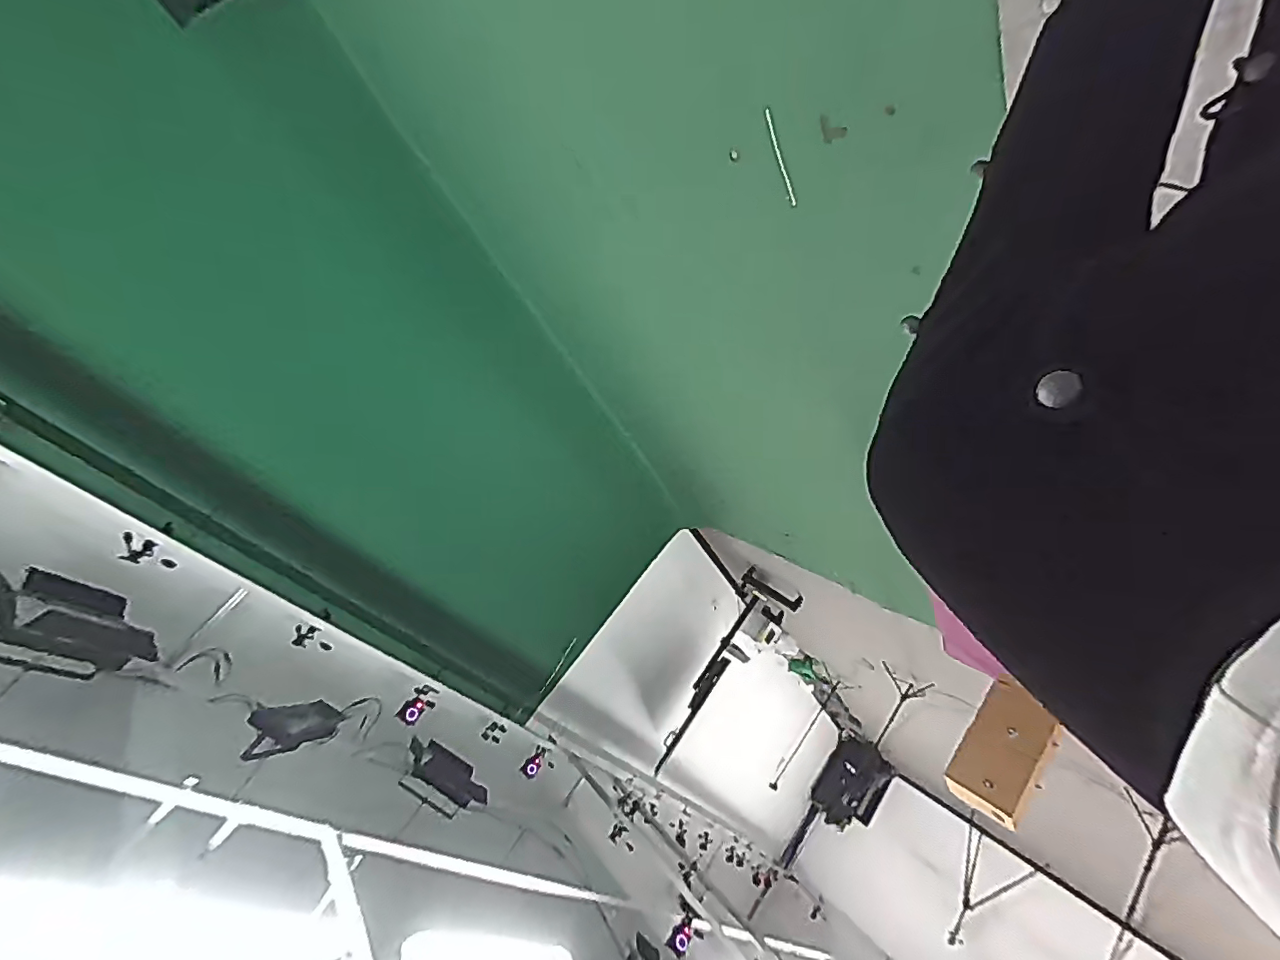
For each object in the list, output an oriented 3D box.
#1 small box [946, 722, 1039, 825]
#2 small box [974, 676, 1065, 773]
[{"bbox_3d":[1.008,0.829,1.537,0.179,0.176,0.168,21,156,48],"label":"small box"},{"bbox_3d":[1.110,0.706,1.577,0.179,0.176,0.168,22,157,47],"label":"small box"}]
